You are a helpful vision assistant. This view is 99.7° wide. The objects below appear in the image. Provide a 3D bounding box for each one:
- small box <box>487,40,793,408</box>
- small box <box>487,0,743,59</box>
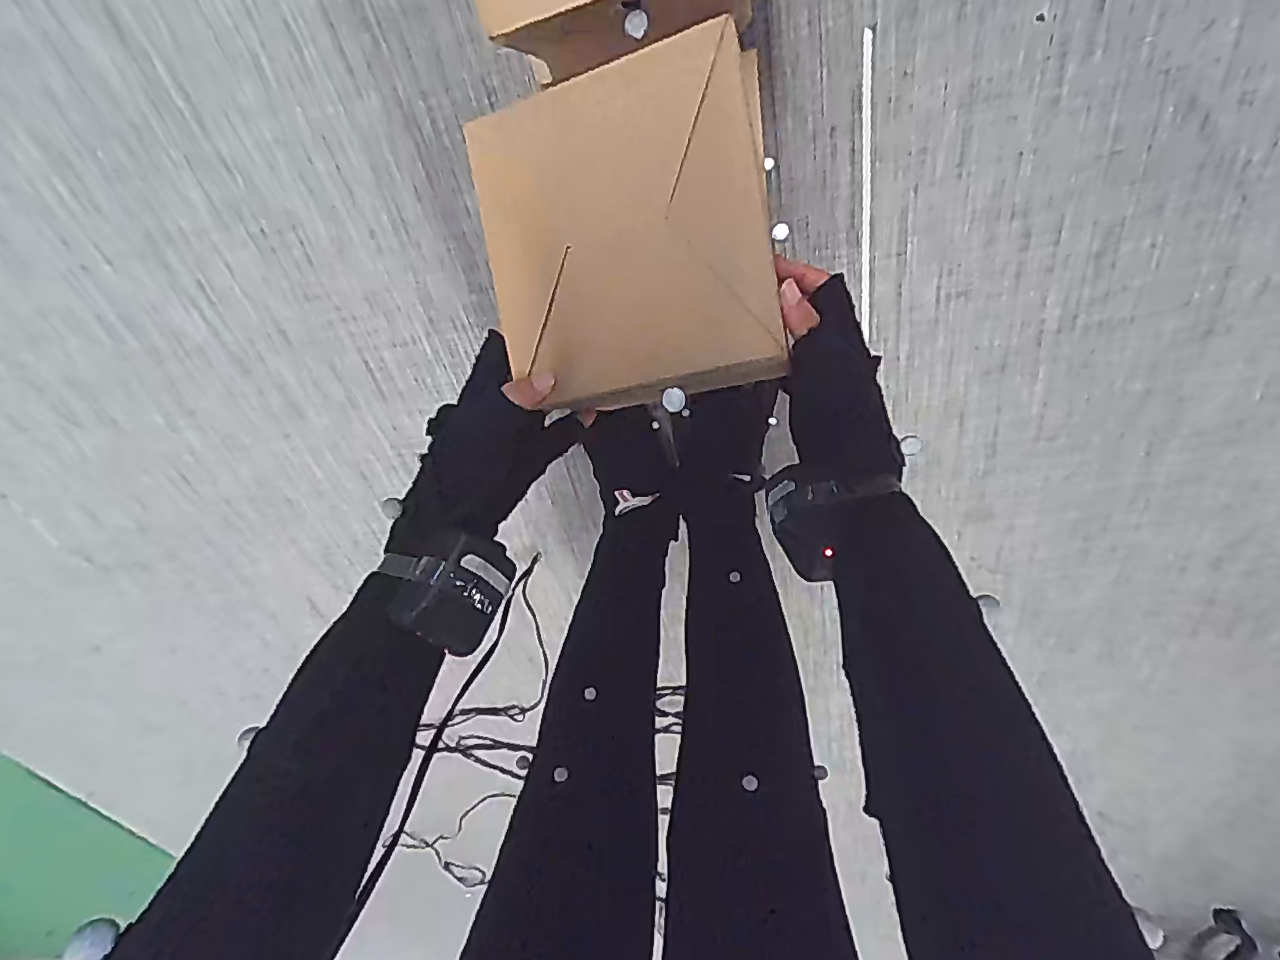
[{"bbox_3d":[0.013,-0.151,0.384,0.168,0.176,0.179,-8,95,18],"label":"small box"},{"bbox_3d":[-0.008,-0.366,0.306,0.179,0.176,0.168,-9,123,13],"label":"small box"}]
